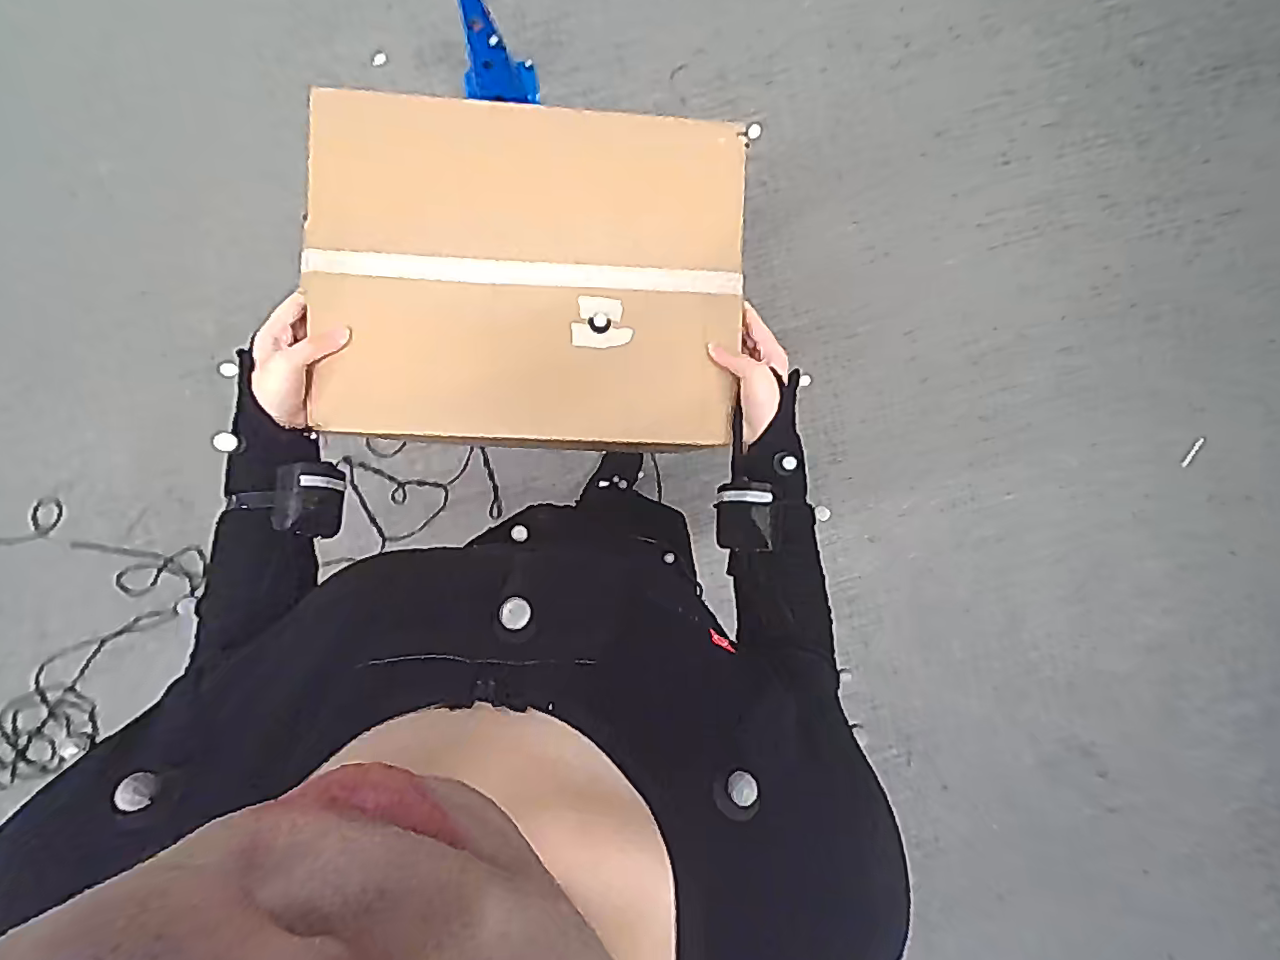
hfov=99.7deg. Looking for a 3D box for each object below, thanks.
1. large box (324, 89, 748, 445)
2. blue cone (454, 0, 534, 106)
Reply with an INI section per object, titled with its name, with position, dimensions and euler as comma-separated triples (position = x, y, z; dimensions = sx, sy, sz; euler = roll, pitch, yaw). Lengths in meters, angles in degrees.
[large box]
position = -0.110, -0.207, 0.667
dimensions = 0.408, 0.320, 0.320
euler = 2, 92, -6
[blue cone]
position = -0.387, -1.058, 1.332
dimensions = 0.193, 0.380, 0.192
euler = -7, 89, -1
